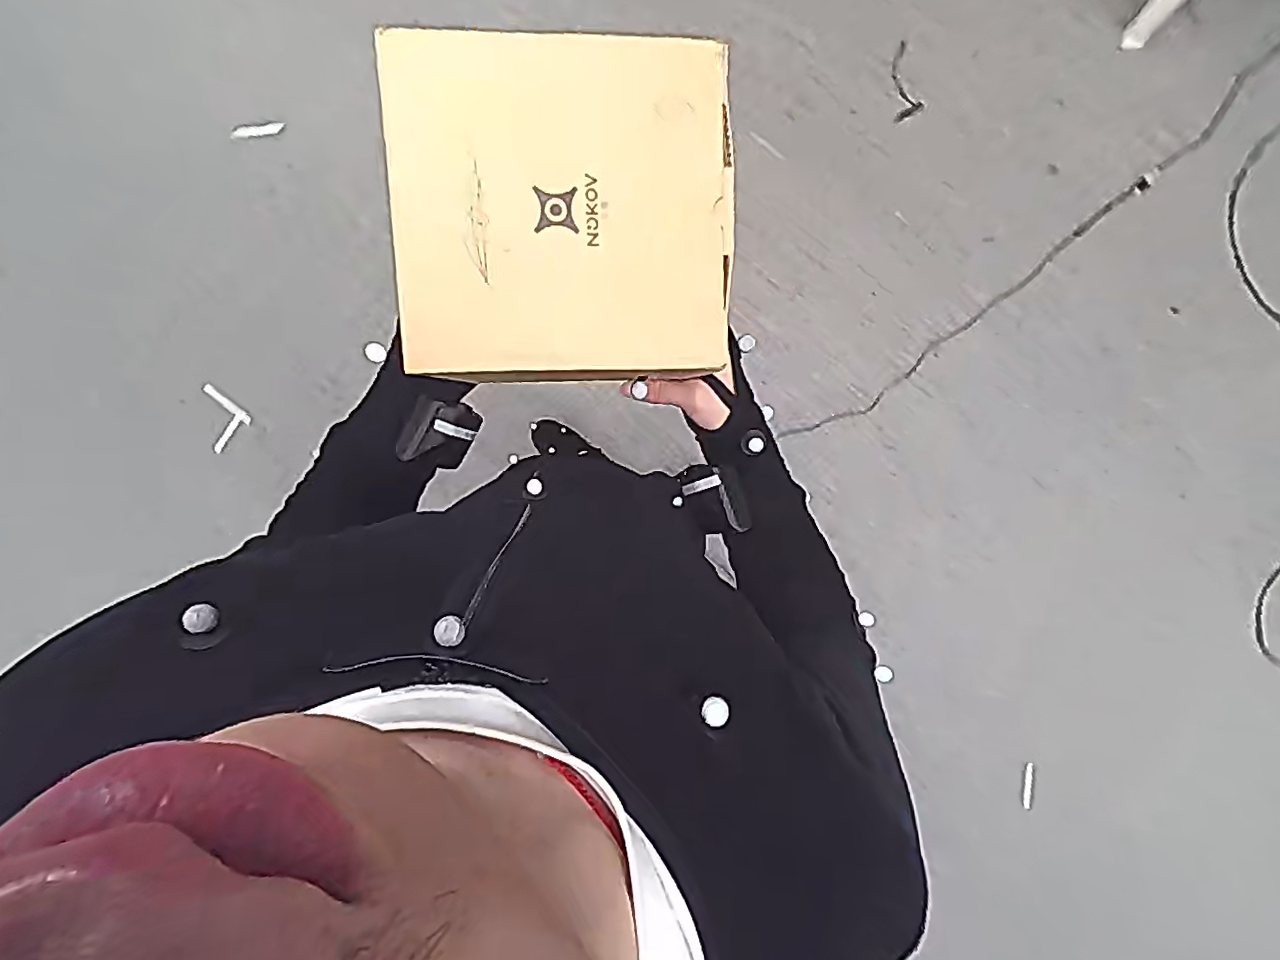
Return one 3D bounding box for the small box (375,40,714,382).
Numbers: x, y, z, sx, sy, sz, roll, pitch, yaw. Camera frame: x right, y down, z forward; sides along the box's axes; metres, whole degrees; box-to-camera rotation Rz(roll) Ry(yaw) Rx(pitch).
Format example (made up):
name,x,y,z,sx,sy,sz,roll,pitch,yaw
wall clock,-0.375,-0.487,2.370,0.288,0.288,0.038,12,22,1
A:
name,x,y,z,sx,sy,sz,roll,pitch,yaw
small box,-0.053,-0.155,0.371,0.179,0.176,0.168,-3,97,-4
